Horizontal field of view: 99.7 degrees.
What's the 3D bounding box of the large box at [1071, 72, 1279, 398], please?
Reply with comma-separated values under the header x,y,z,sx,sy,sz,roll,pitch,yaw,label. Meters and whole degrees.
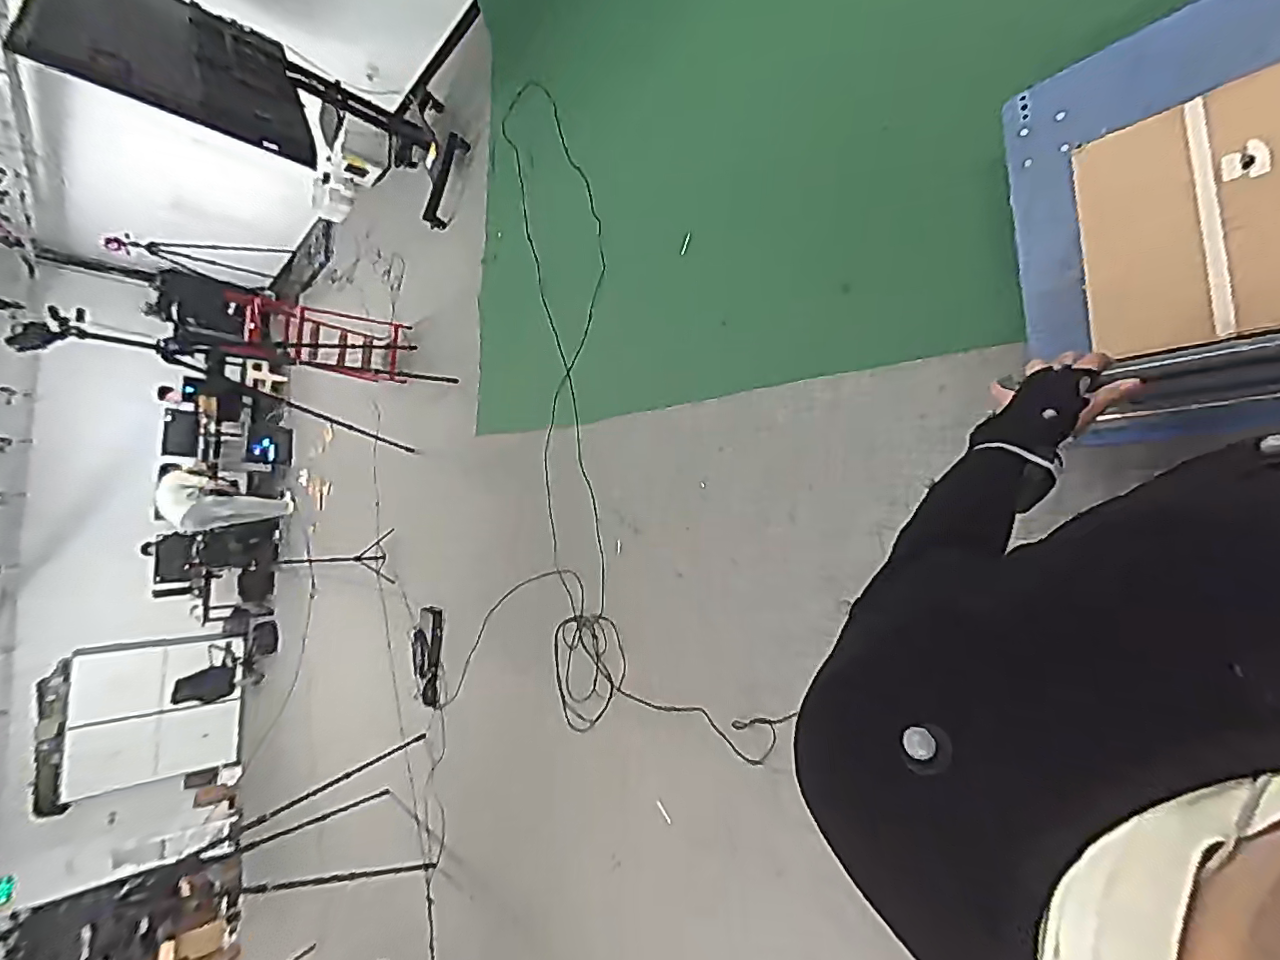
x,y,z,sx,sy,sz,roll,pitch,yaw,label
1.006,-0.394,0.955,0.320,0.320,0.408,-8,80,45,large box
